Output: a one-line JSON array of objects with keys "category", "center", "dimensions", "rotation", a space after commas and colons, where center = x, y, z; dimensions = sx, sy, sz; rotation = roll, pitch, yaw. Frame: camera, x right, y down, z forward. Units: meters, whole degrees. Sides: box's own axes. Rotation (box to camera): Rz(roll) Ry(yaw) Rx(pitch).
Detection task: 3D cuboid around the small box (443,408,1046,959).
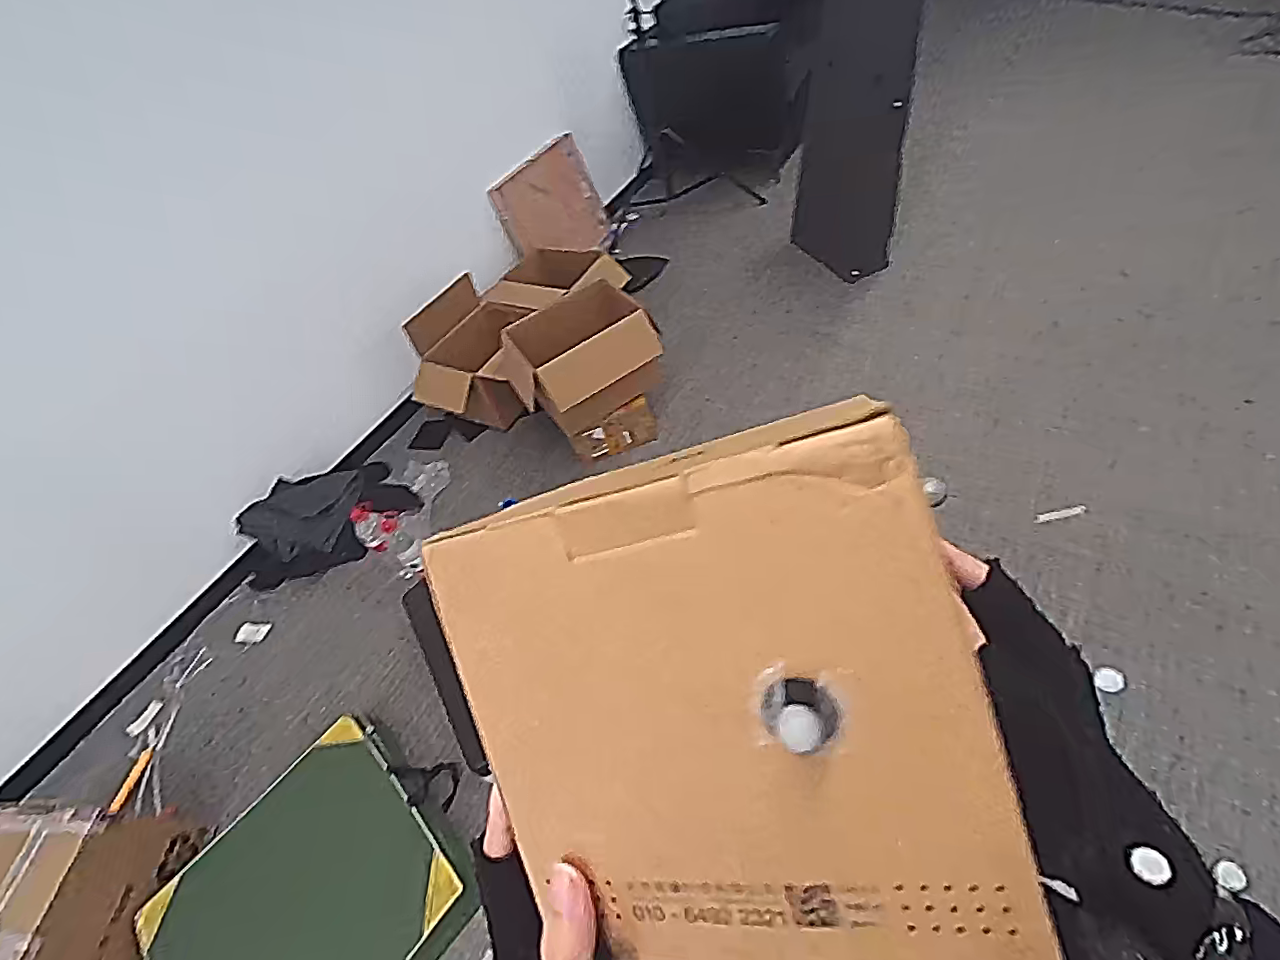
[{"category": "small box", "center": [0.050, 0.074, 0.251], "dimensions": [0.168, 0.179, 0.176], "rotation": [-16, 93, 21]}]
